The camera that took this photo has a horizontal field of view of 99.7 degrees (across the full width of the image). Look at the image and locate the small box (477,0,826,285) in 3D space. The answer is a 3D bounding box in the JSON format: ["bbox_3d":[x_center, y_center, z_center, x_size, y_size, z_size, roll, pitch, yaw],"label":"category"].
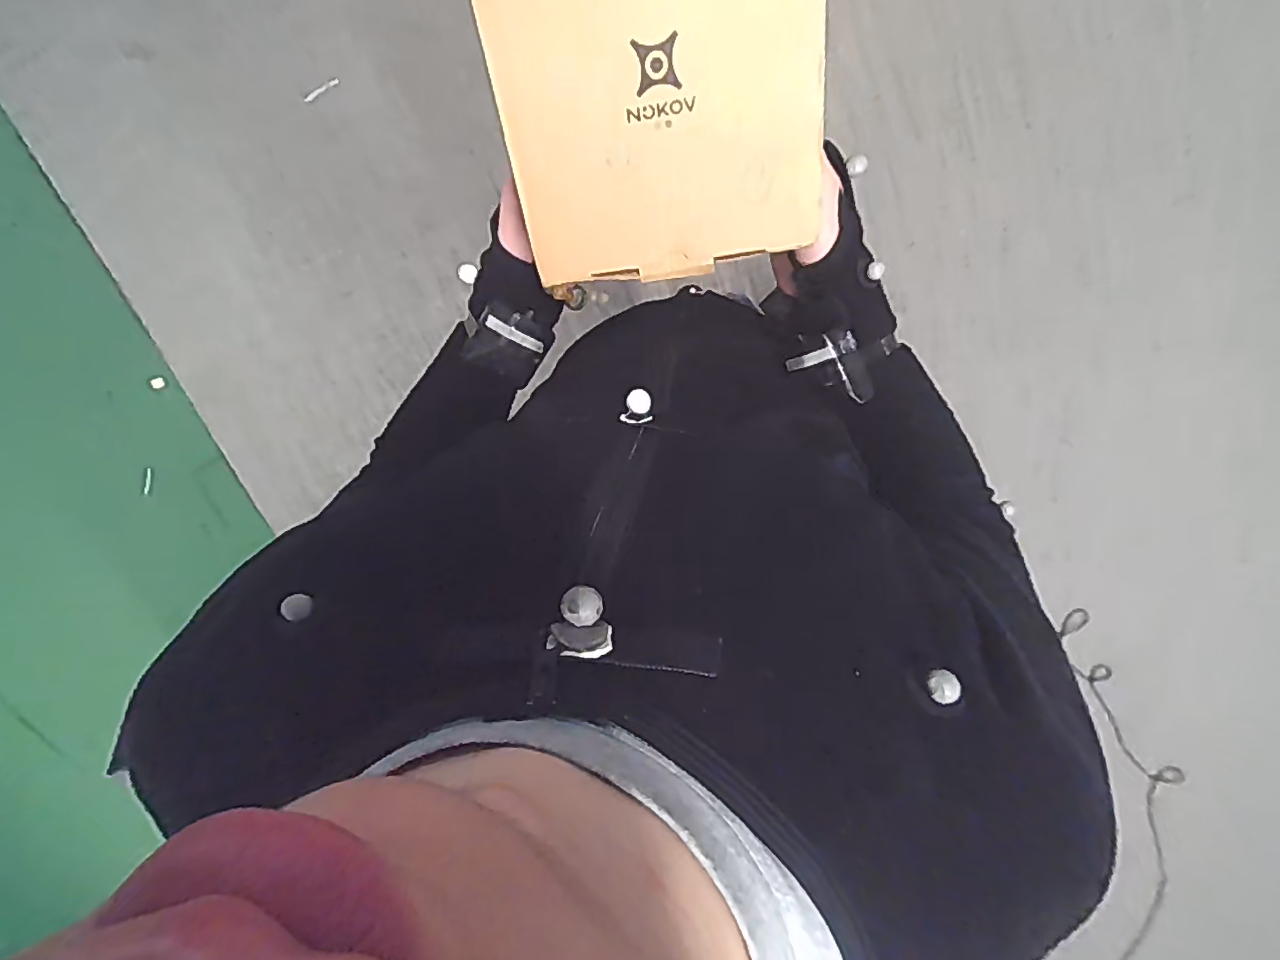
[{"bbox_3d":[0.012,-0.242,0.340,0.168,0.176,0.179,-7,124,5],"label":"small box"}]
